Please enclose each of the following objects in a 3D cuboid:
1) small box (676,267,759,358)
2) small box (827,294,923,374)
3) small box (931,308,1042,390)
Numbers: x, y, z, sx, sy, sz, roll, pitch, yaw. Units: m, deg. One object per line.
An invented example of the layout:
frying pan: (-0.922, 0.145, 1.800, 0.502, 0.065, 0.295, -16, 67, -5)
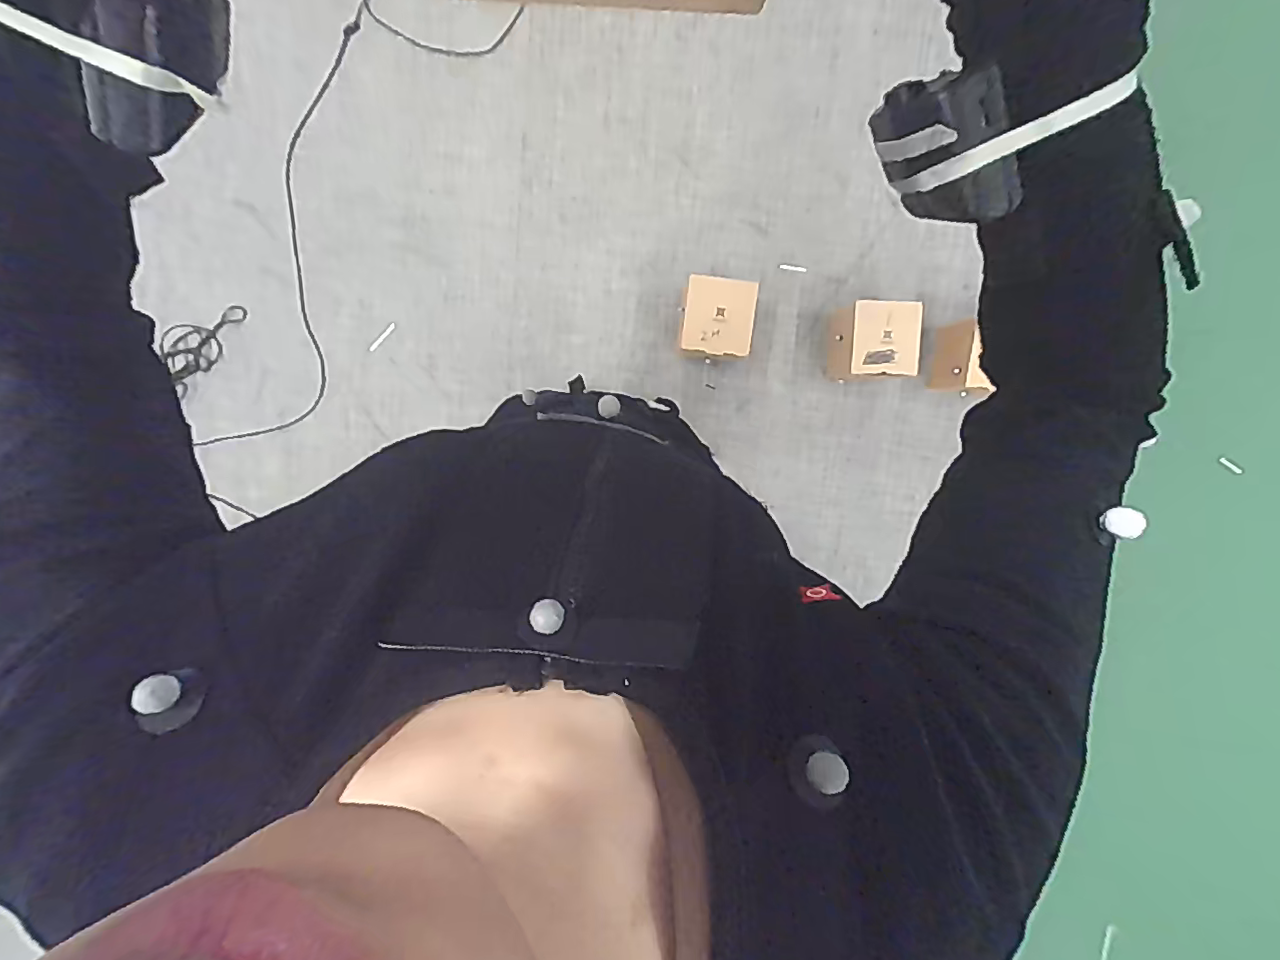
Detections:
small box: (0.184, -0.408, 1.343, 0.168, 0.176, 0.179, 7, 98, -2)
small box: (0.583, -0.361, 1.365, 0.168, 0.176, 0.179, 1, 97, -2)
small box: (0.874, -0.327, 1.381, 0.168, 0.176, 0.179, 5, 98, -2)
